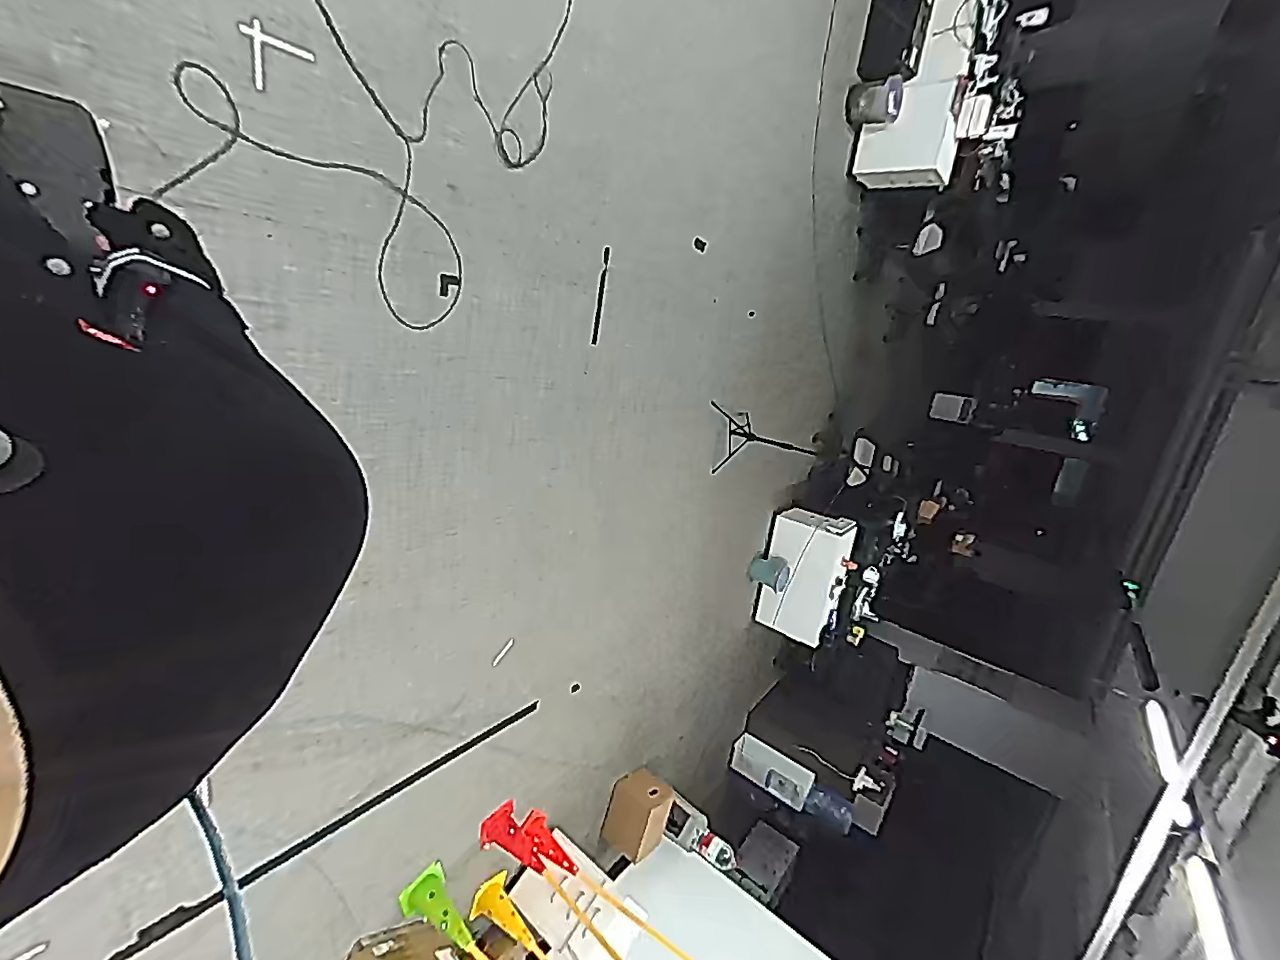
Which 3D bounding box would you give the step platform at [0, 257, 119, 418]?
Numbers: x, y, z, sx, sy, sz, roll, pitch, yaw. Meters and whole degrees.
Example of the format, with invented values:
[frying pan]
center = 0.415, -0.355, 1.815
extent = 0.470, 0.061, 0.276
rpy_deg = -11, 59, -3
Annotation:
[step platform]
center = -1.301, -0.237, 0.857
extent = 0.684, 0.204, 0.286
rpy_deg = -13, 116, -50
